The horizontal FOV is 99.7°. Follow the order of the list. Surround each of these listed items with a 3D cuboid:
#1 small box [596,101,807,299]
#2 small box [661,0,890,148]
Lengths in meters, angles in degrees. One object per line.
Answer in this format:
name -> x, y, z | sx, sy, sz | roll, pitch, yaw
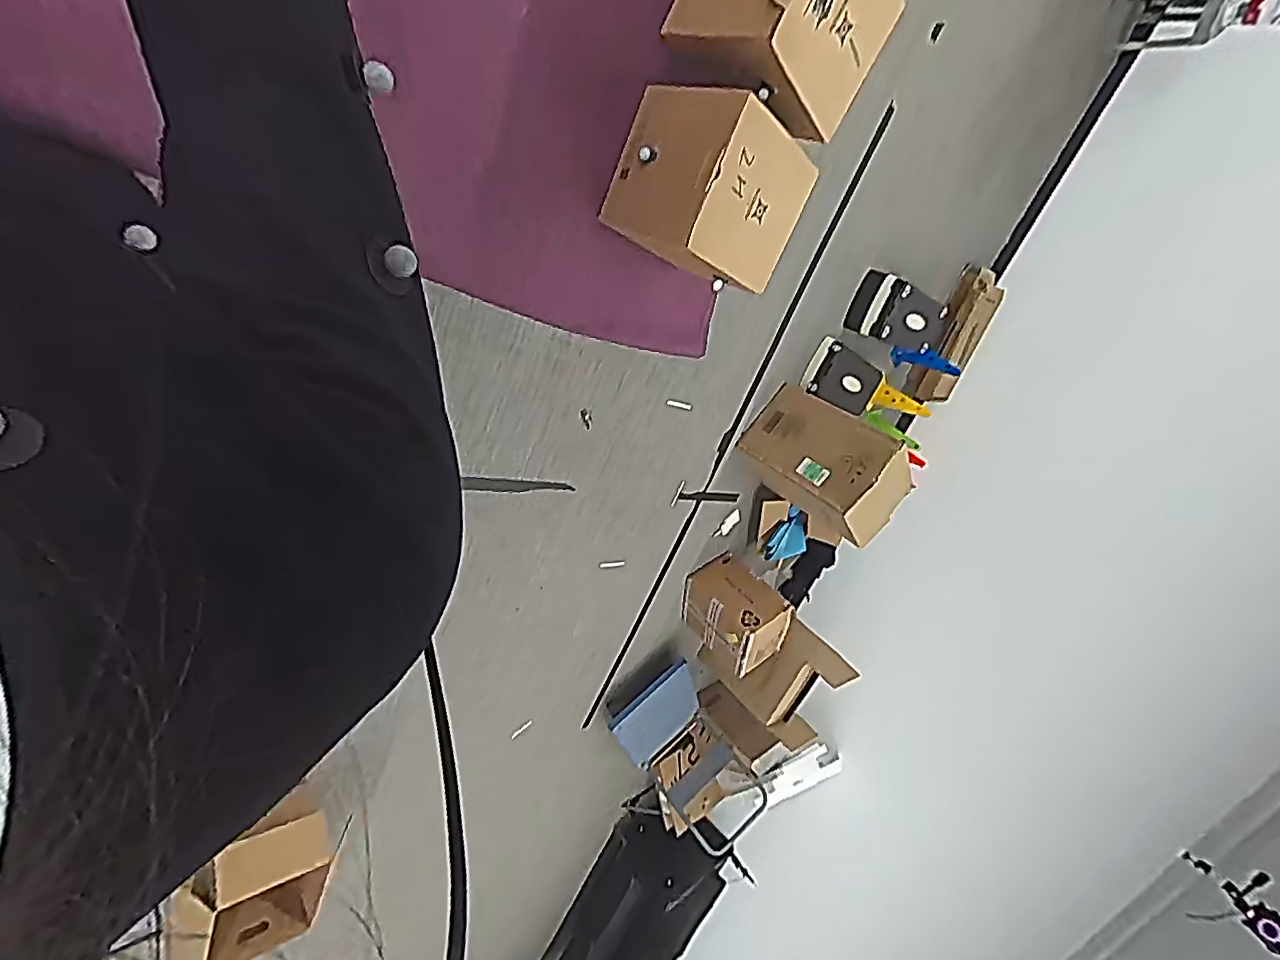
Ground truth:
small box -> 0.076, -0.362, 0.702 | 0.179, 0.176, 0.168 | 7, 113, -48
small box -> 0.156, -0.535, 0.641 | 0.179, 0.176, 0.168 | 12, 113, -52
